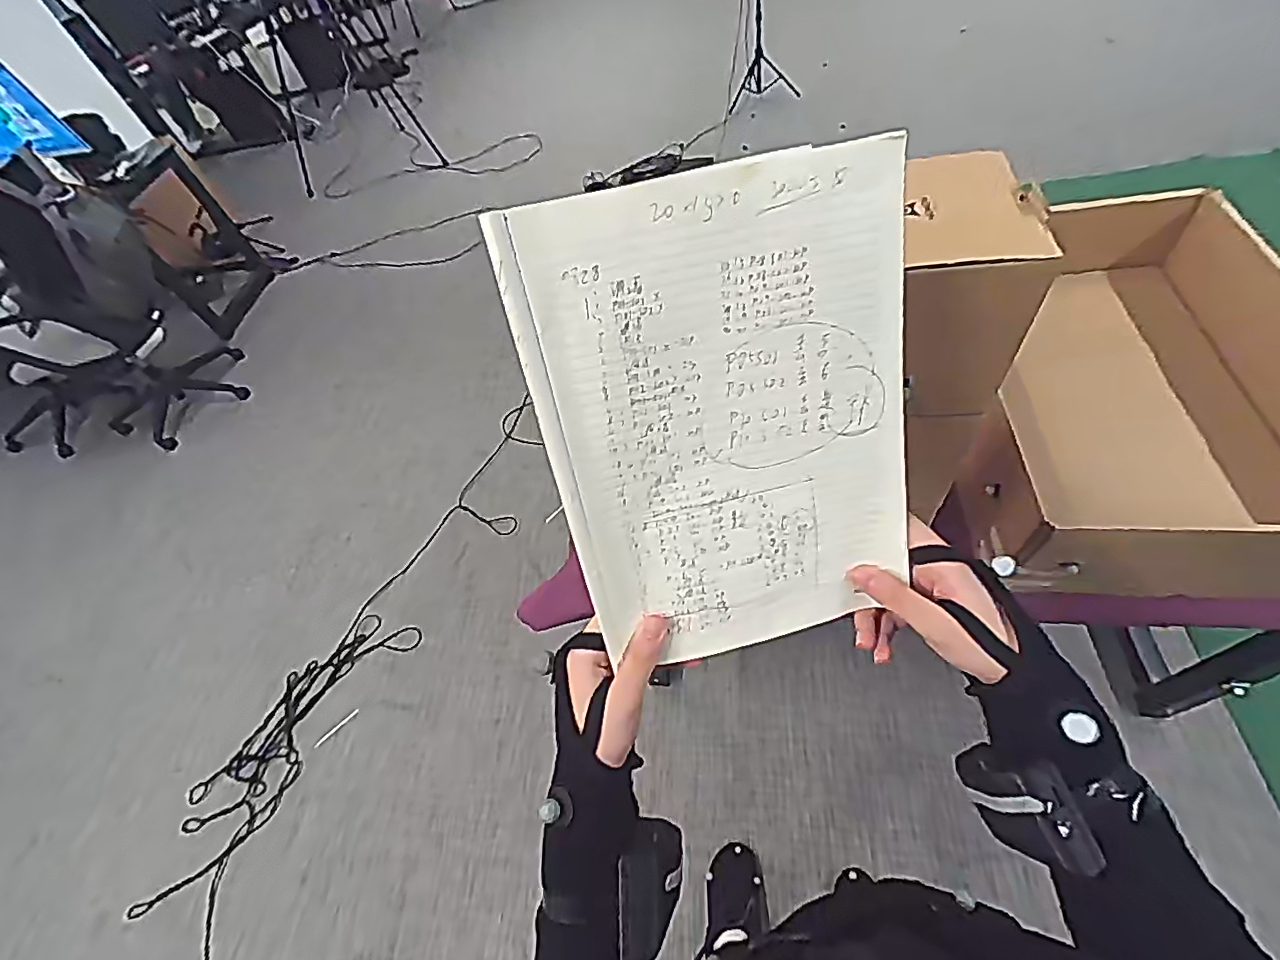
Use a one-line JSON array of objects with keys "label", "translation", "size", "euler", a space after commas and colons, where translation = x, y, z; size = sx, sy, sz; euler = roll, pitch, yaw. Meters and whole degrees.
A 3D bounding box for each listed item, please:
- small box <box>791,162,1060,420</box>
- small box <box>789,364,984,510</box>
[{"label": "small box", "translation": [0.245, -0.172, 0.519], "size": [0.179, 0.176, 0.168], "euler": [0, 53, 11]}, {"label": "small box", "translation": [0.275, -0.075, 0.649], "size": [0.179, 0.176, 0.168], "euler": [-1, 53, 13]}]
